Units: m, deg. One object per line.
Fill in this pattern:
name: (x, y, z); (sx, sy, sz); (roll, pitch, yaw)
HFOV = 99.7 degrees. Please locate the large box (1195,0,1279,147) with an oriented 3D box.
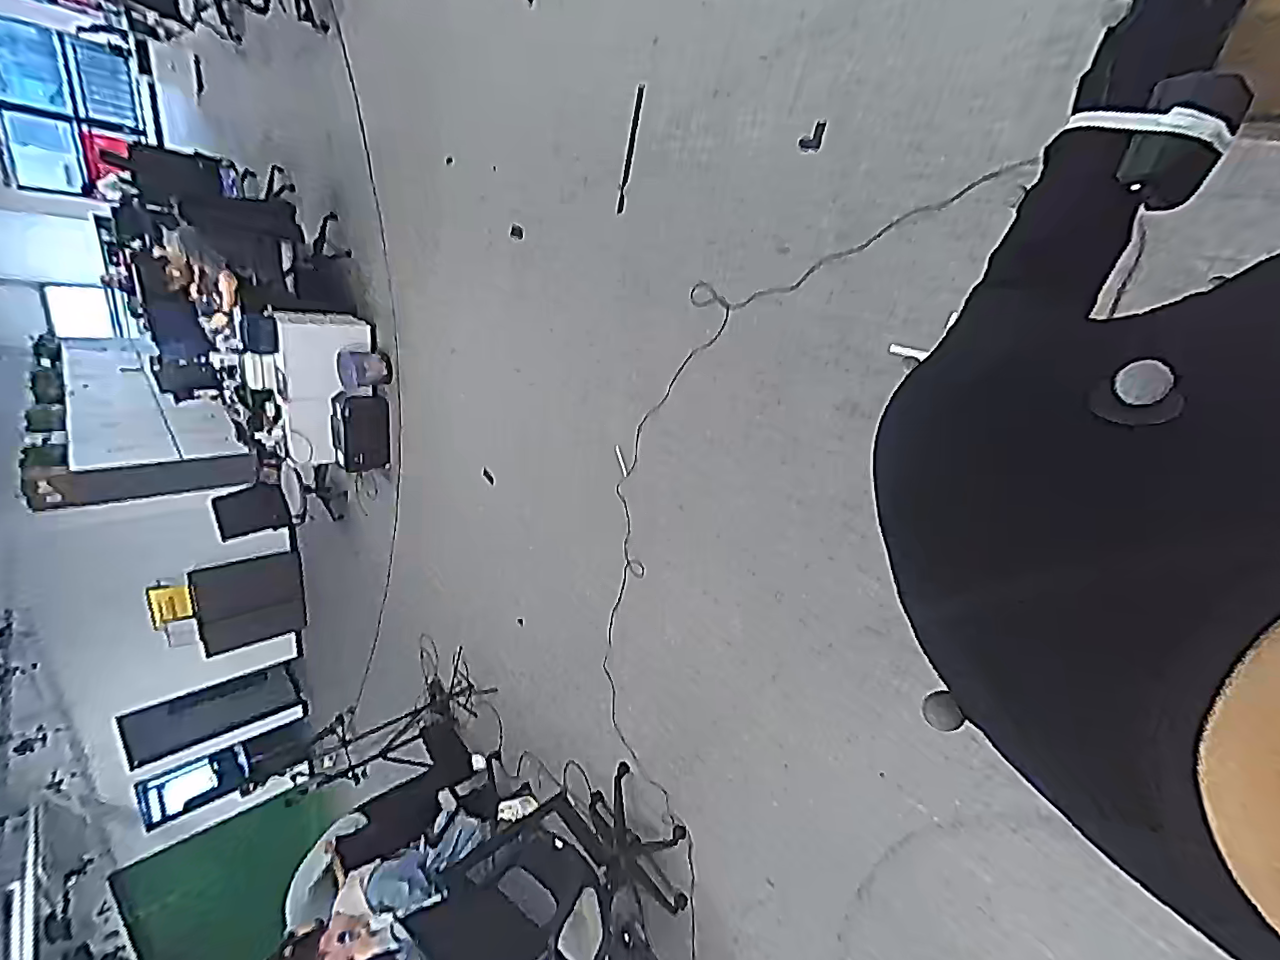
large box: (0.632, -0.359, 0.281); (0.408, 0.320, 0.320); (28, 130, 34)
